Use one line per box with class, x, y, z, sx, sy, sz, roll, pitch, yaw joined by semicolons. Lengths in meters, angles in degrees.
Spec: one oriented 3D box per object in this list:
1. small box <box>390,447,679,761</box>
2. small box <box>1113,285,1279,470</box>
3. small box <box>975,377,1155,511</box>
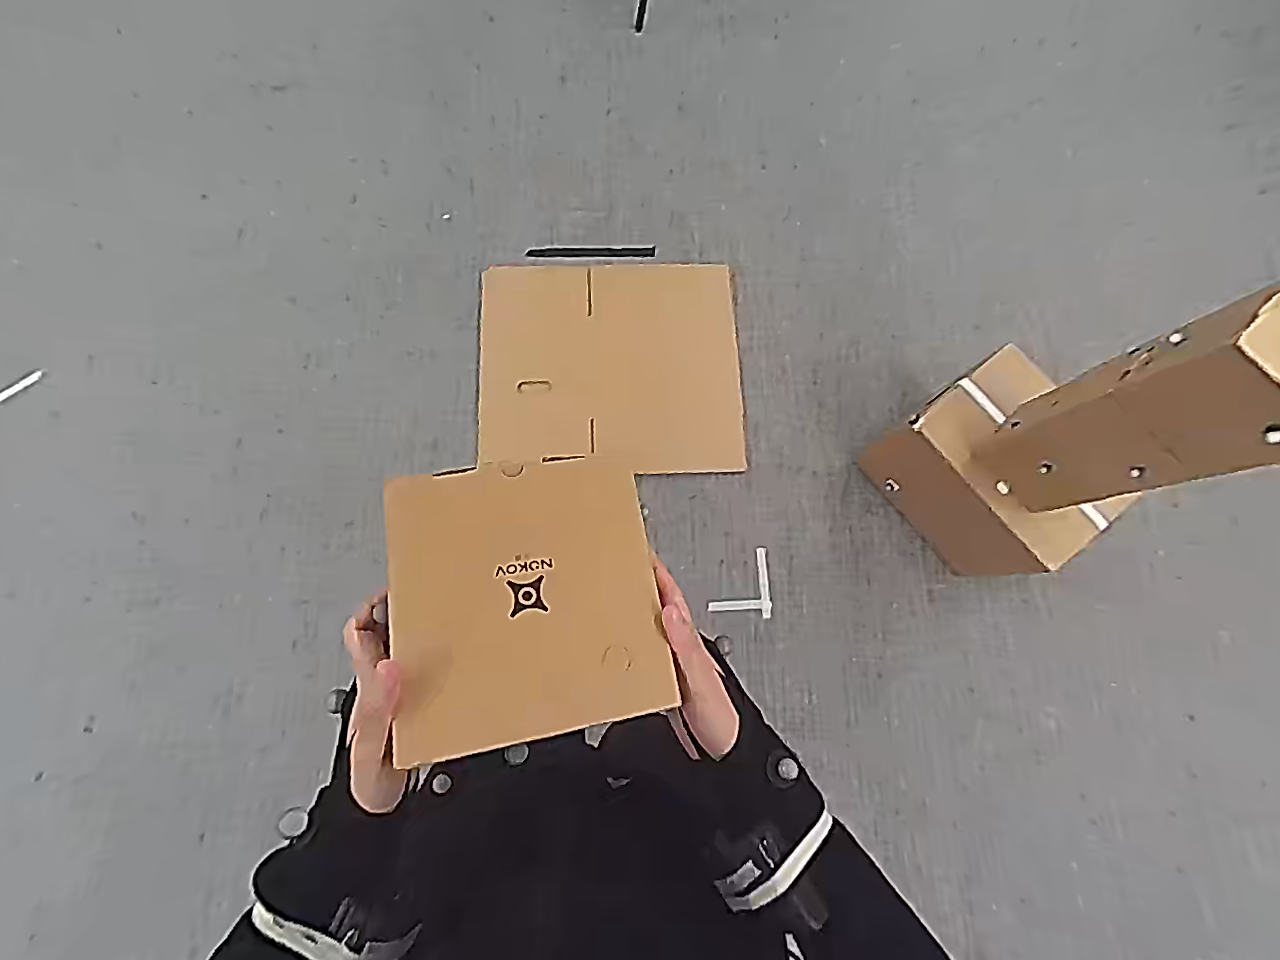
small box;-0.080;0.096;0.414;0.168;0.176;0.179;-8;68;-13
small box;0.812;-0.131;0.722;0.168;0.176;0.179;-40;82;-10
small box;0.803;-0.060;1.044;0.168;0.176;0.179;-41;83;-9
